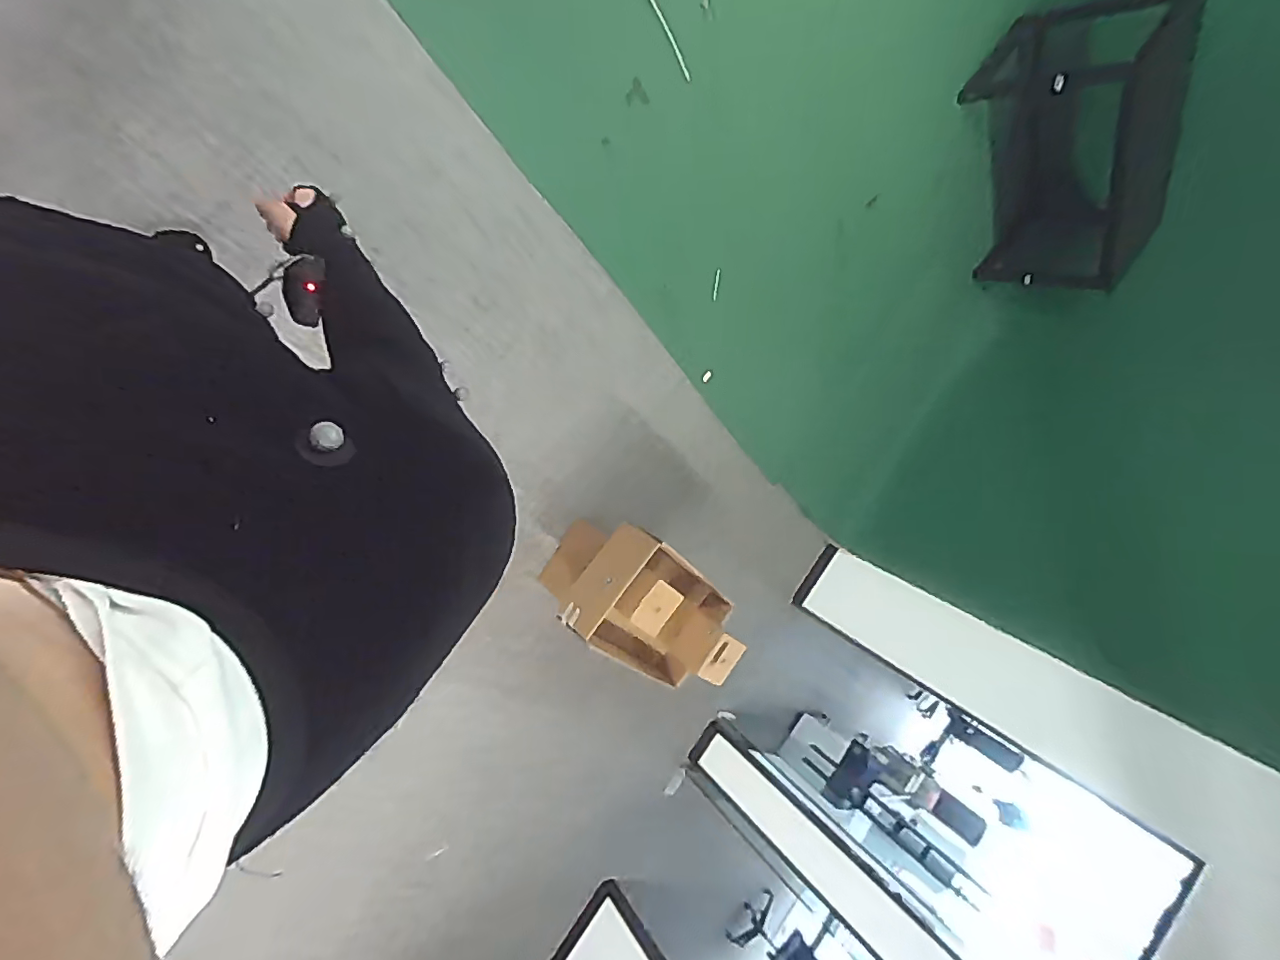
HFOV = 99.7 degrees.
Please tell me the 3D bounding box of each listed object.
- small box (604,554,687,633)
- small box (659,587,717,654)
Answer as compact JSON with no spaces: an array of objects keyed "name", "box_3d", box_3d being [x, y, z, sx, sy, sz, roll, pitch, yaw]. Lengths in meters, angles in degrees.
[{"name":"small box","box_3d":[0.017,0.371,1.789,0.168,0.176,0.179,-52,135,-7]},{"name":"small box","box_3d":[0.142,0.498,1.971,0.168,0.176,0.179,-52,133,-5]}]
